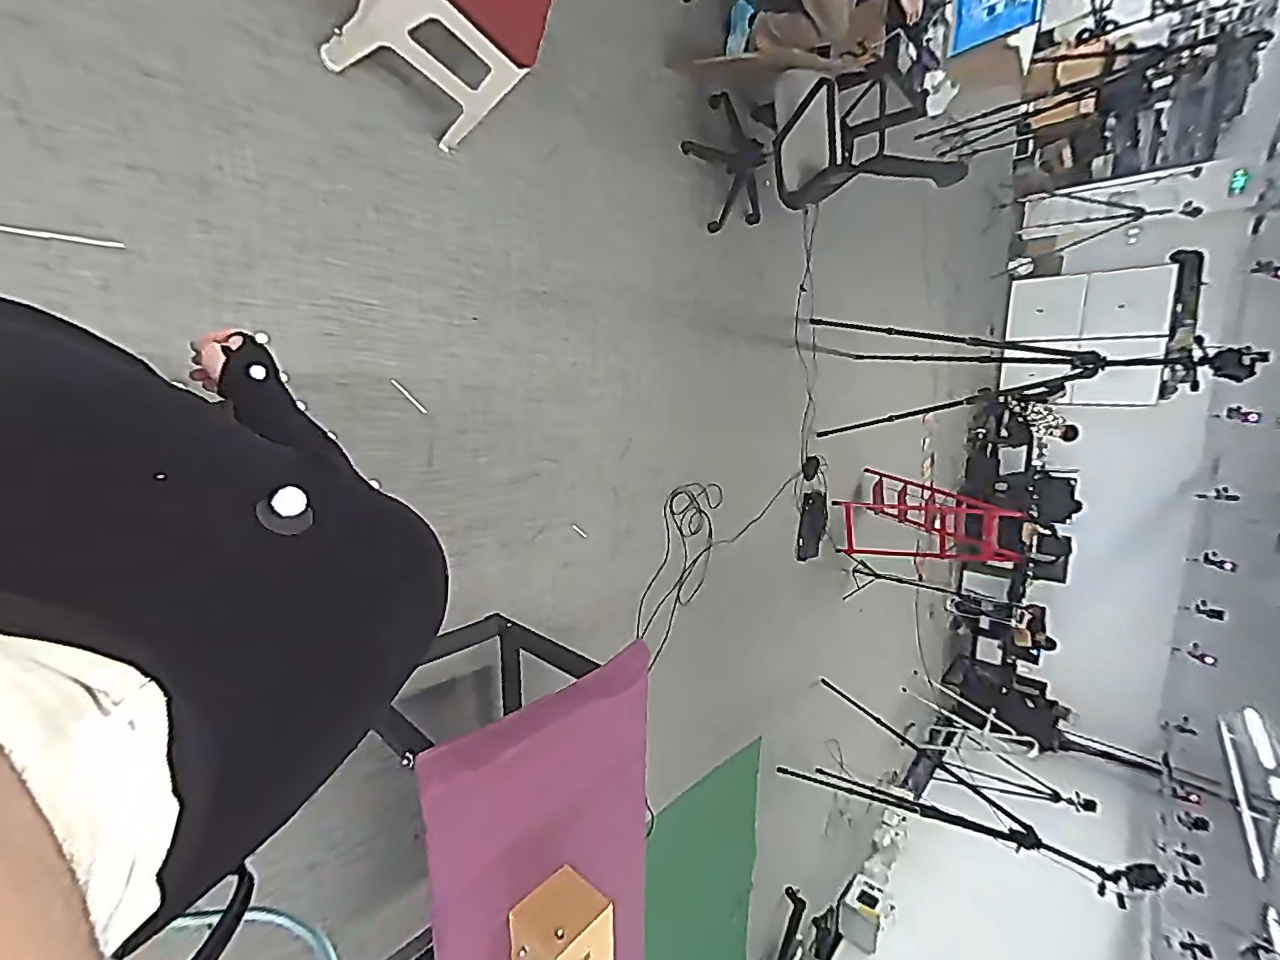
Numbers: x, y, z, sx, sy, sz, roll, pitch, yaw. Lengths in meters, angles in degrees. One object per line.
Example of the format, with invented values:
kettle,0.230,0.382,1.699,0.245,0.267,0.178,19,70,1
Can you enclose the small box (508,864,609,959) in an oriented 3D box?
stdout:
small box,-0.191,1.072,1.284,0.179,0.176,0.168,-12,105,-46
